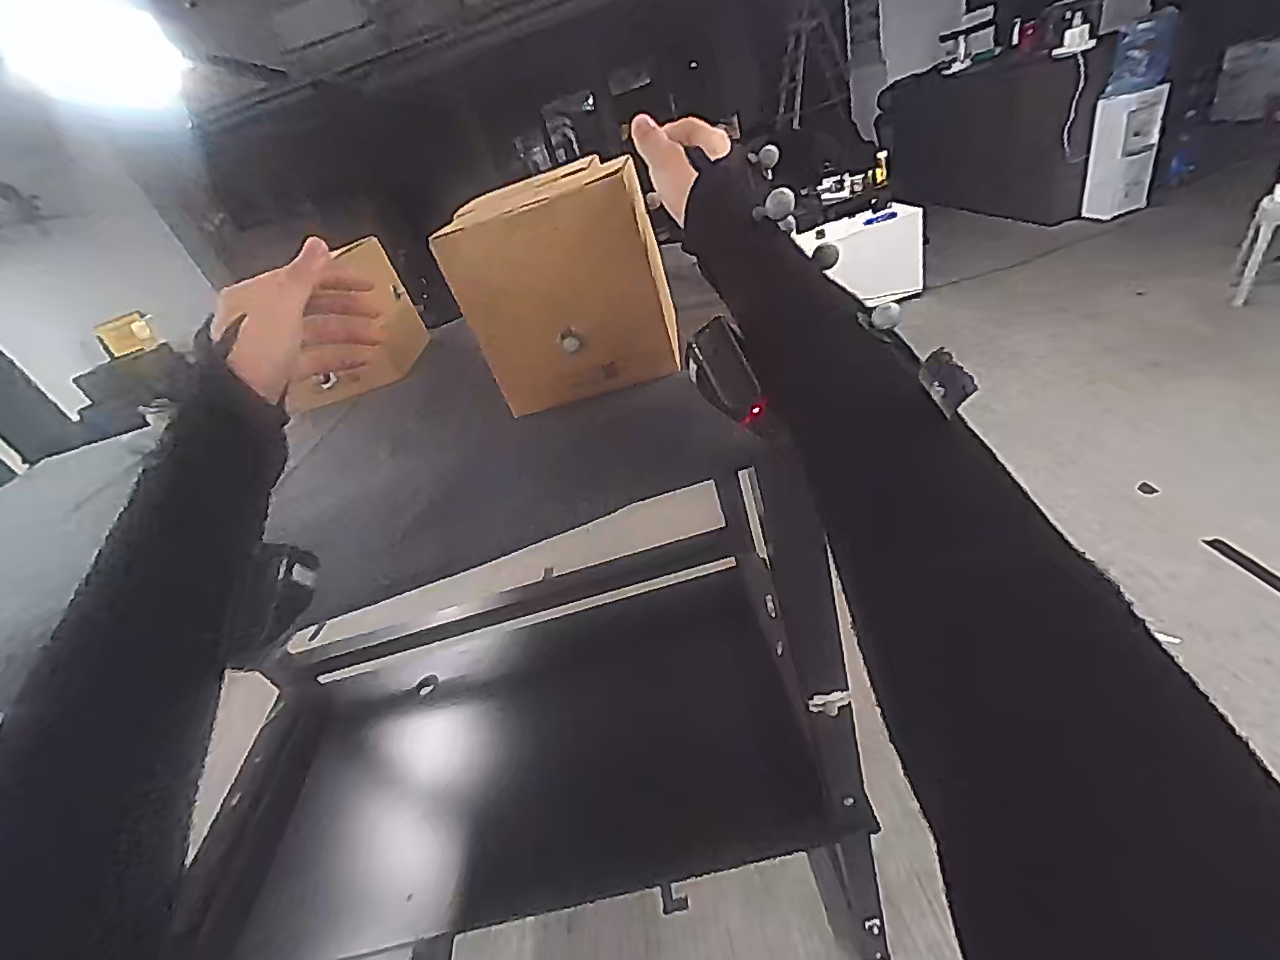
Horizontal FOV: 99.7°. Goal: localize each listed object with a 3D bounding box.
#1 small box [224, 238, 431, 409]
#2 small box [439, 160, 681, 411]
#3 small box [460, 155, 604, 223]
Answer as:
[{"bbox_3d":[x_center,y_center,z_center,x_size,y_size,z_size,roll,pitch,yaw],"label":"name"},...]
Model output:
[{"bbox_3d":[-0.427,-0.225,0.779,0.168,0.176,0.179,-18,33,5],"label":"small box"},{"bbox_3d":[-0.059,-0.191,0.531,0.168,0.176,0.179,-14,33,11],"label":"small box"},{"bbox_3d":[-0.104,-0.297,0.709,0.168,0.176,0.179,-14,35,10],"label":"small box"}]
